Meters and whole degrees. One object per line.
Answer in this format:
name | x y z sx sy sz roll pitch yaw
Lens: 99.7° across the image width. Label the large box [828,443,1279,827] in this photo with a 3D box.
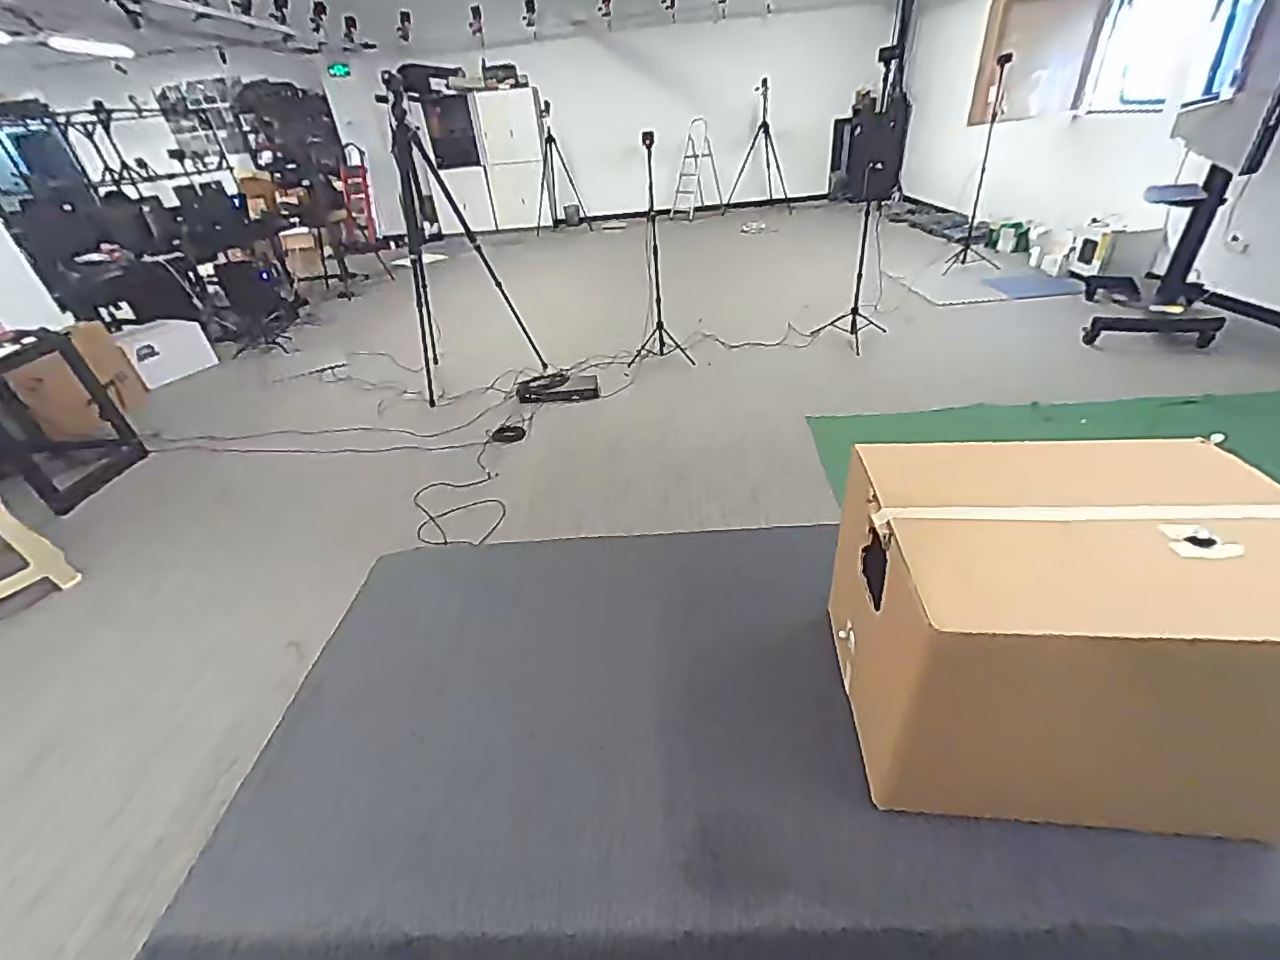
large box | 0.471 0.164 0.638 0.408 0.320 0.320 0 34 7
